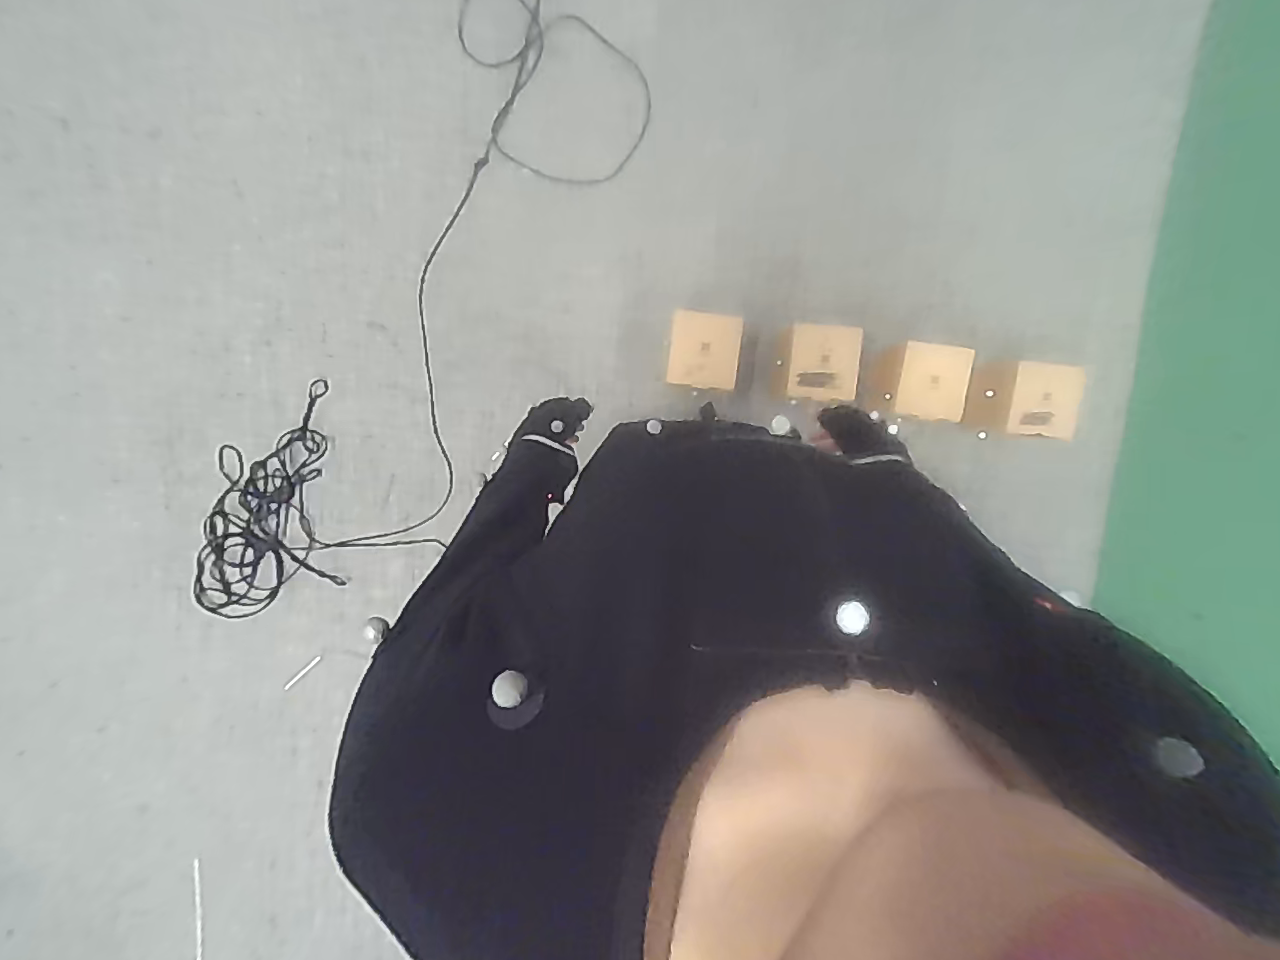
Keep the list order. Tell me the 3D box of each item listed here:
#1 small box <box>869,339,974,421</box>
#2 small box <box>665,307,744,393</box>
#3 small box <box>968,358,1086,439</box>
[{"bbox_3d":[0.699,-0.246,1.362,0.168,0.176,0.179,7,97,-1],"label":"small box"},{"bbox_3d":[0.155,-0.320,1.357,0.168,0.176,0.179,7,96,1],"label":"small box"},{"bbox_3d":[0.964,-0.202,1.364,0.168,0.176,0.179,7,96,0],"label":"small box"}]
